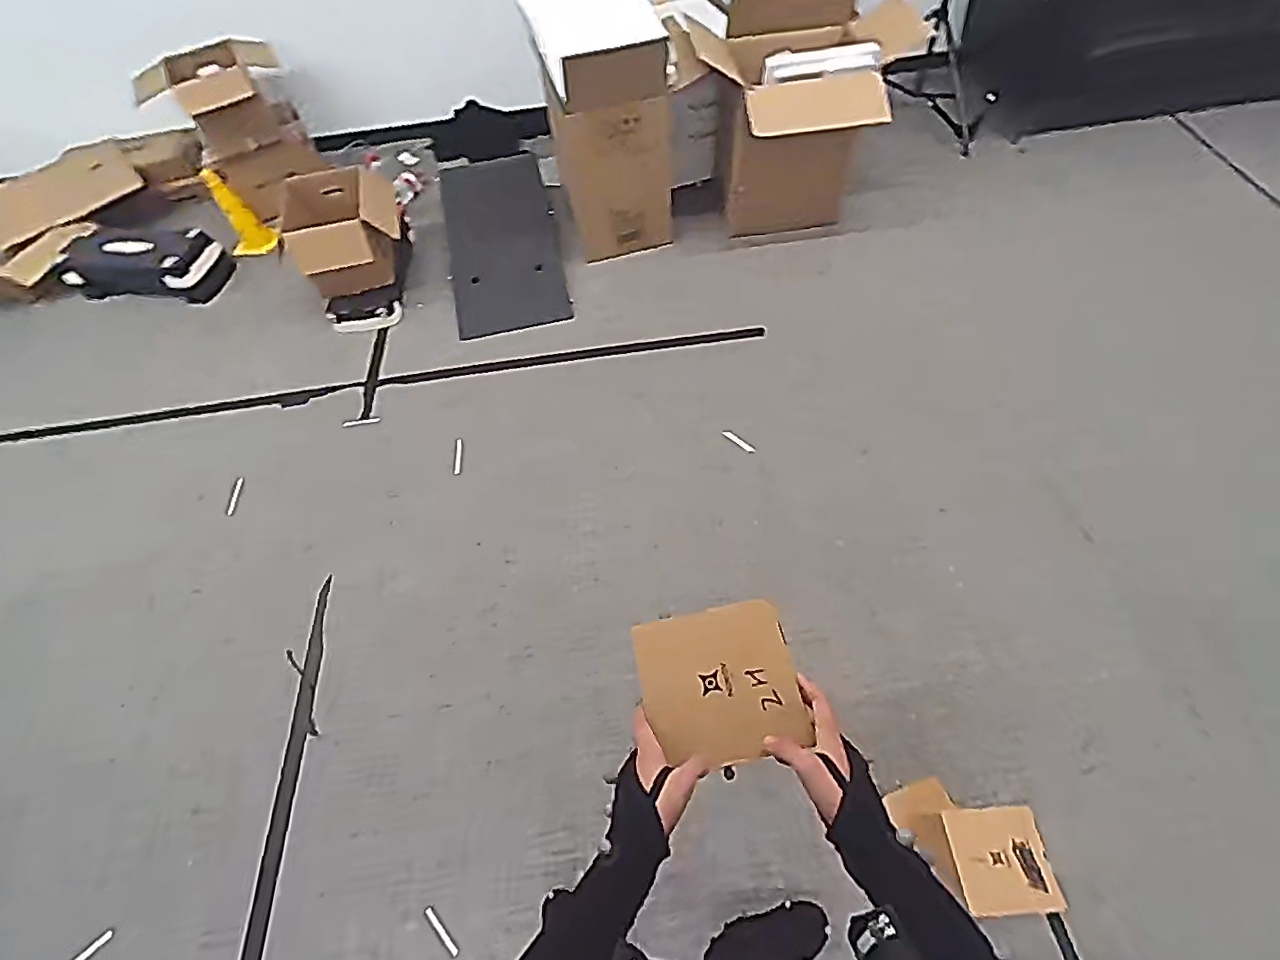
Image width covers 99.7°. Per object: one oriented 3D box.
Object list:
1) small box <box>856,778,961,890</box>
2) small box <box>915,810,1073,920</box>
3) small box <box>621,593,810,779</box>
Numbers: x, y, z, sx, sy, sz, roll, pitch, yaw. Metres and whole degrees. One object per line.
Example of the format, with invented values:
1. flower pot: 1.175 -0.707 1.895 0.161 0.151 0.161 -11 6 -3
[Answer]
1. small box: 0.626 0.797 1.229 0.179 0.176 0.168 -17 58 -6
2. small box: 0.679 0.747 1.063 0.179 0.176 0.168 -4 57 2
3. small box: 0.086 0.255 0.664 0.179 0.176 0.168 -13 65 -1
